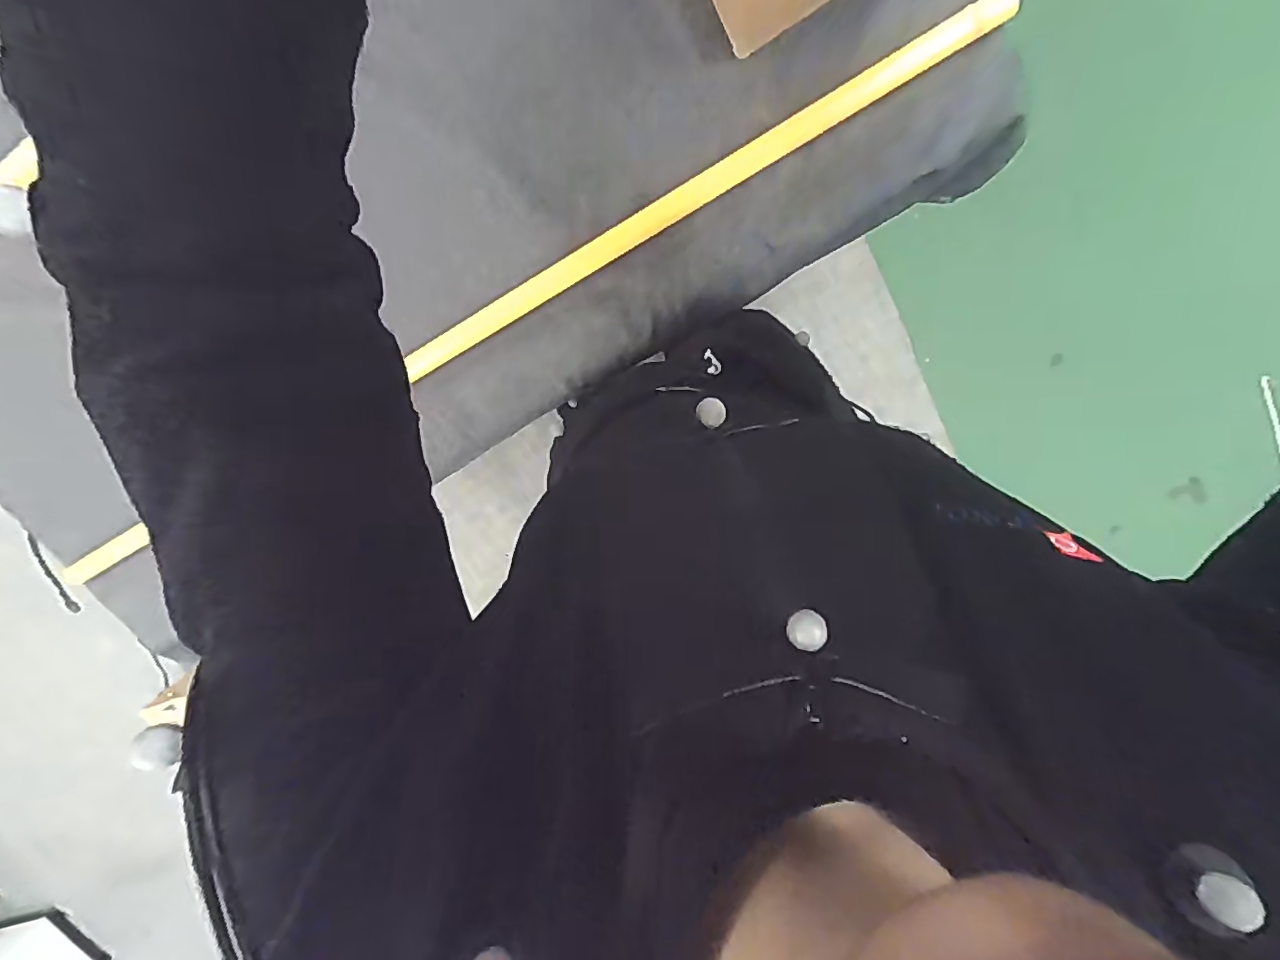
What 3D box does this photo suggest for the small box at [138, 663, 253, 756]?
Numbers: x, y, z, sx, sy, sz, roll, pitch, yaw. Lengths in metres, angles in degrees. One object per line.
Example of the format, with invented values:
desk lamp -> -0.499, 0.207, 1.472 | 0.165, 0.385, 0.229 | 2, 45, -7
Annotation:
small box -> -1.331, 0.691, 1.635 | 0.168, 0.176, 0.179 | -20, 107, 10

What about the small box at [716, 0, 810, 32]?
small box -> 0.112, -0.459, 0.370 | 0.168, 0.176, 0.179 | -28, 105, 13
